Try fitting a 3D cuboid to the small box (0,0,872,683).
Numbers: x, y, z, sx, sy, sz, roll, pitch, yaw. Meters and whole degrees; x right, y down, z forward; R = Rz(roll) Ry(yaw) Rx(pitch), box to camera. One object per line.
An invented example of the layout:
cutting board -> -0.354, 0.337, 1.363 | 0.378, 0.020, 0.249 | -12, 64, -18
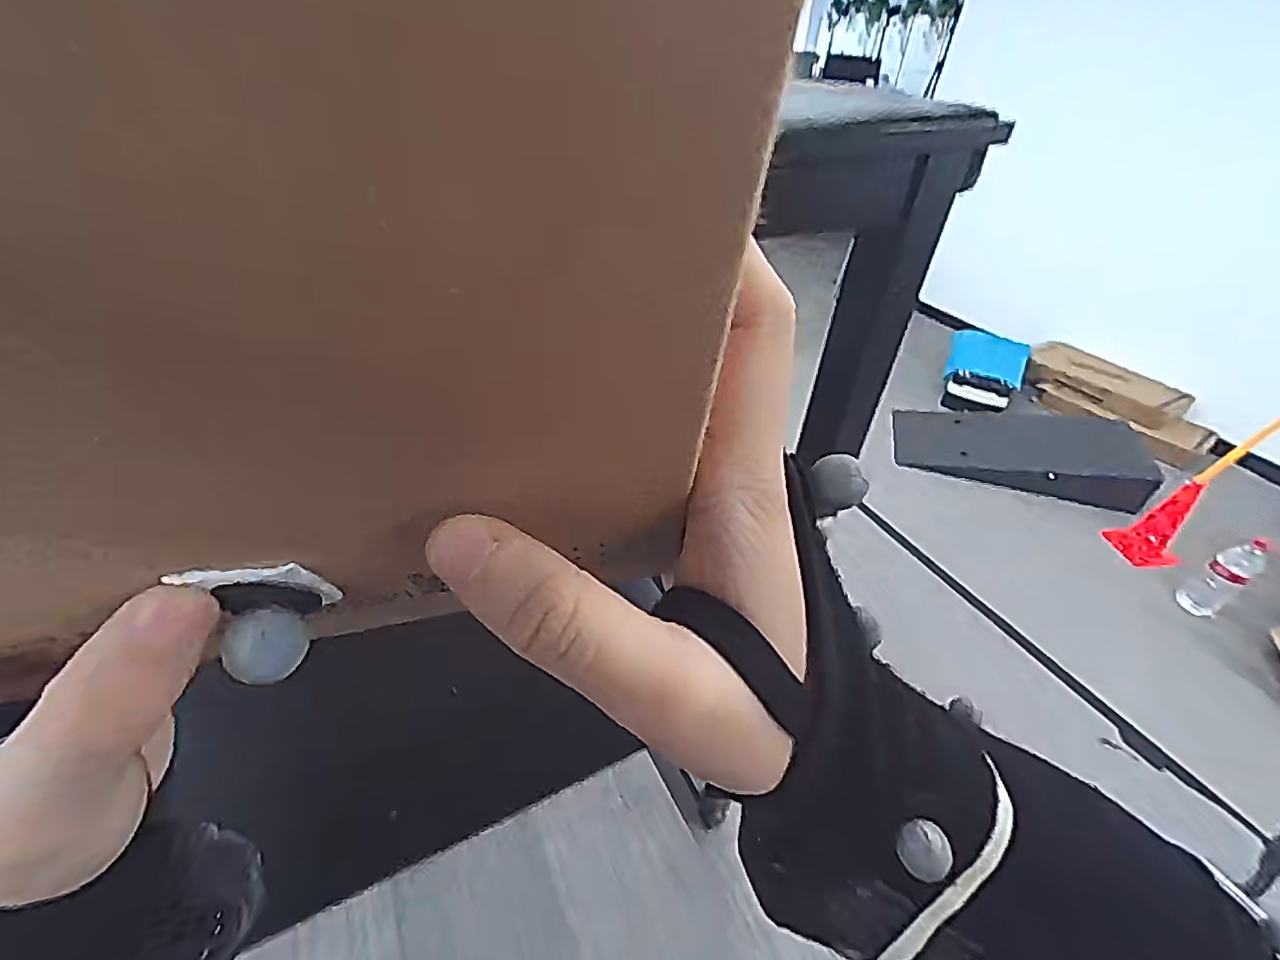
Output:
small box -> -0.079, -0.070, 0.128 | 0.168, 0.176, 0.179 | -10, 61, -7
